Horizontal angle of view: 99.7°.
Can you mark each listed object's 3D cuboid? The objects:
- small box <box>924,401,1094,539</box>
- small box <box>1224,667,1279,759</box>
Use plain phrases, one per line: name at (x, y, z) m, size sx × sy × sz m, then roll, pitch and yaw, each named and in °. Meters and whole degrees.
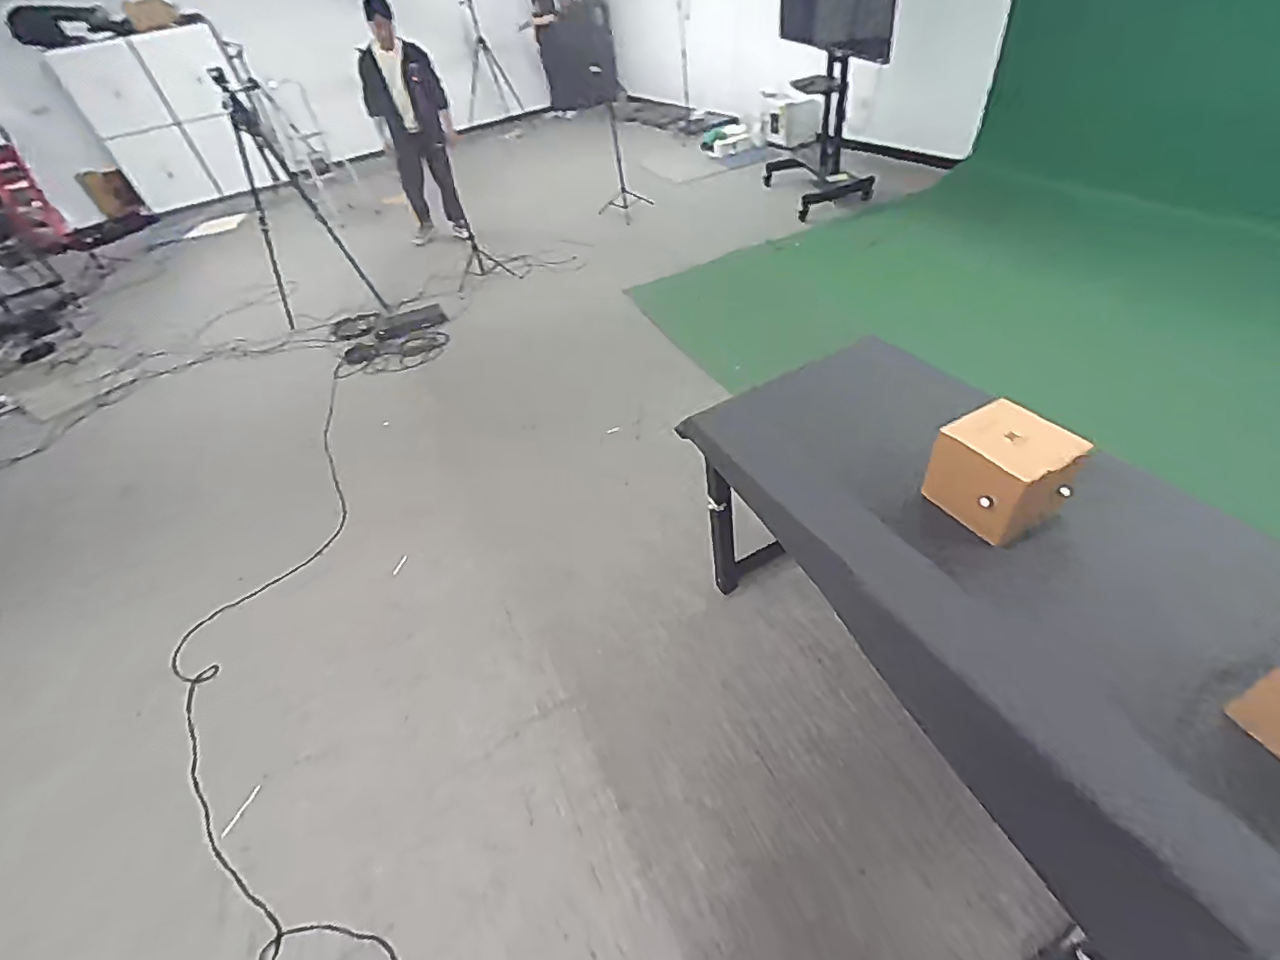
small box at (0.670, -0.012, 1.005) m, size 0.168 × 0.176 × 0.179 m, roll -23°, pitch 44°, yaw -15°
small box at (0.895, 0.288, 0.647) m, size 0.168 × 0.176 × 0.179 m, roll -21°, pitch 45°, yaw -11°
